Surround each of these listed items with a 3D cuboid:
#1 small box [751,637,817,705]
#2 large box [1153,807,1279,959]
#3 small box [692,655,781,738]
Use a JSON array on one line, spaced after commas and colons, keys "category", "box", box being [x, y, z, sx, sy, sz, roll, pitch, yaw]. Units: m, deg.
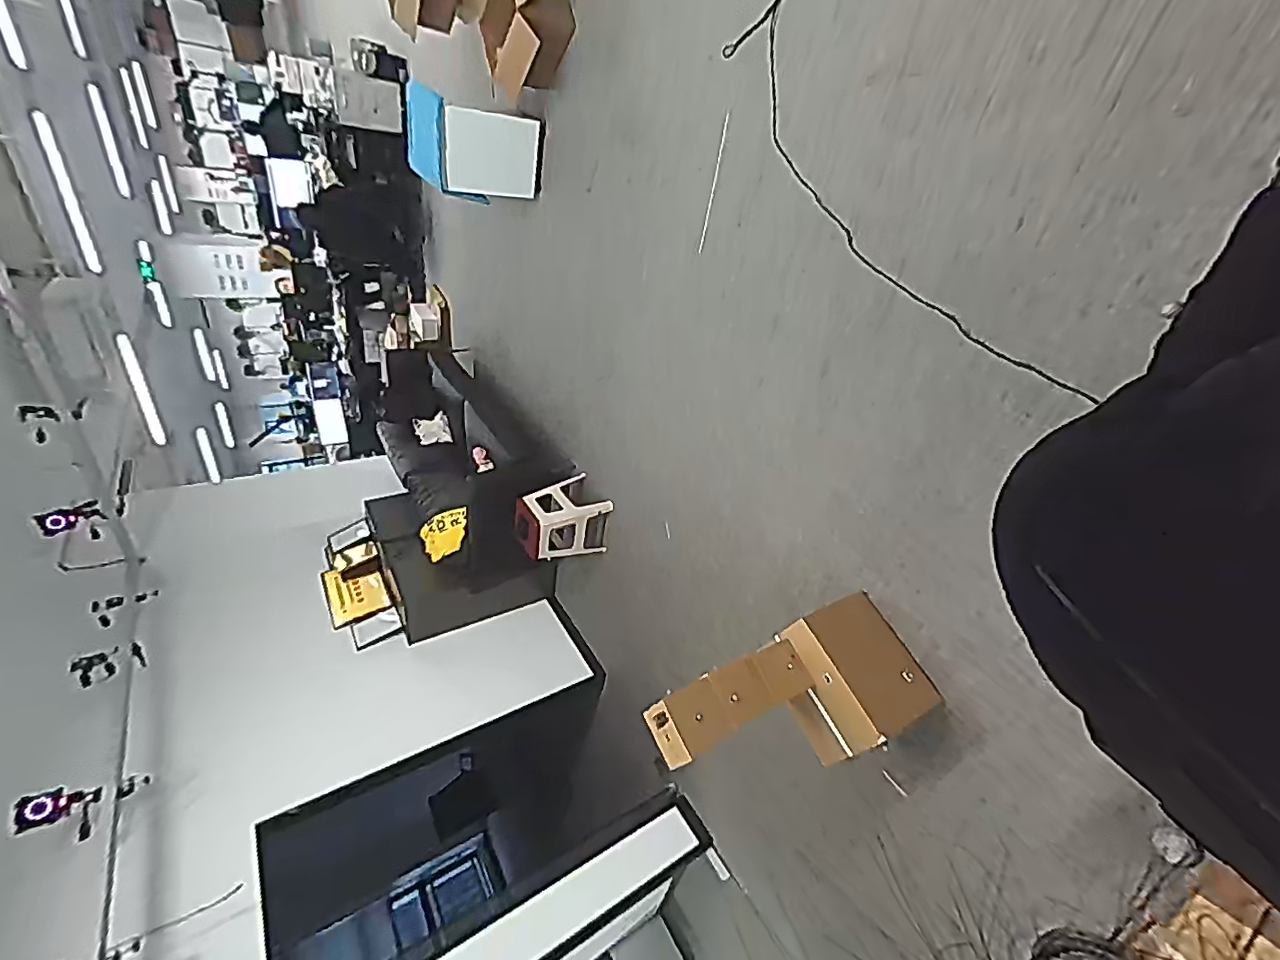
[{"category": "small box", "box": [0.435, 0.634, 1.746, 0.168, 0.176, 0.179, 60, 146, 25]}, {"category": "large box", "box": [1.277, 0.924, 0.991, 0.408, 0.320, 0.320, 30, 126, 48]}, {"category": "small box", "box": [0.296, 0.660, 1.667, 0.179, 0.176, 0.168, 60, 146, 24]}]
